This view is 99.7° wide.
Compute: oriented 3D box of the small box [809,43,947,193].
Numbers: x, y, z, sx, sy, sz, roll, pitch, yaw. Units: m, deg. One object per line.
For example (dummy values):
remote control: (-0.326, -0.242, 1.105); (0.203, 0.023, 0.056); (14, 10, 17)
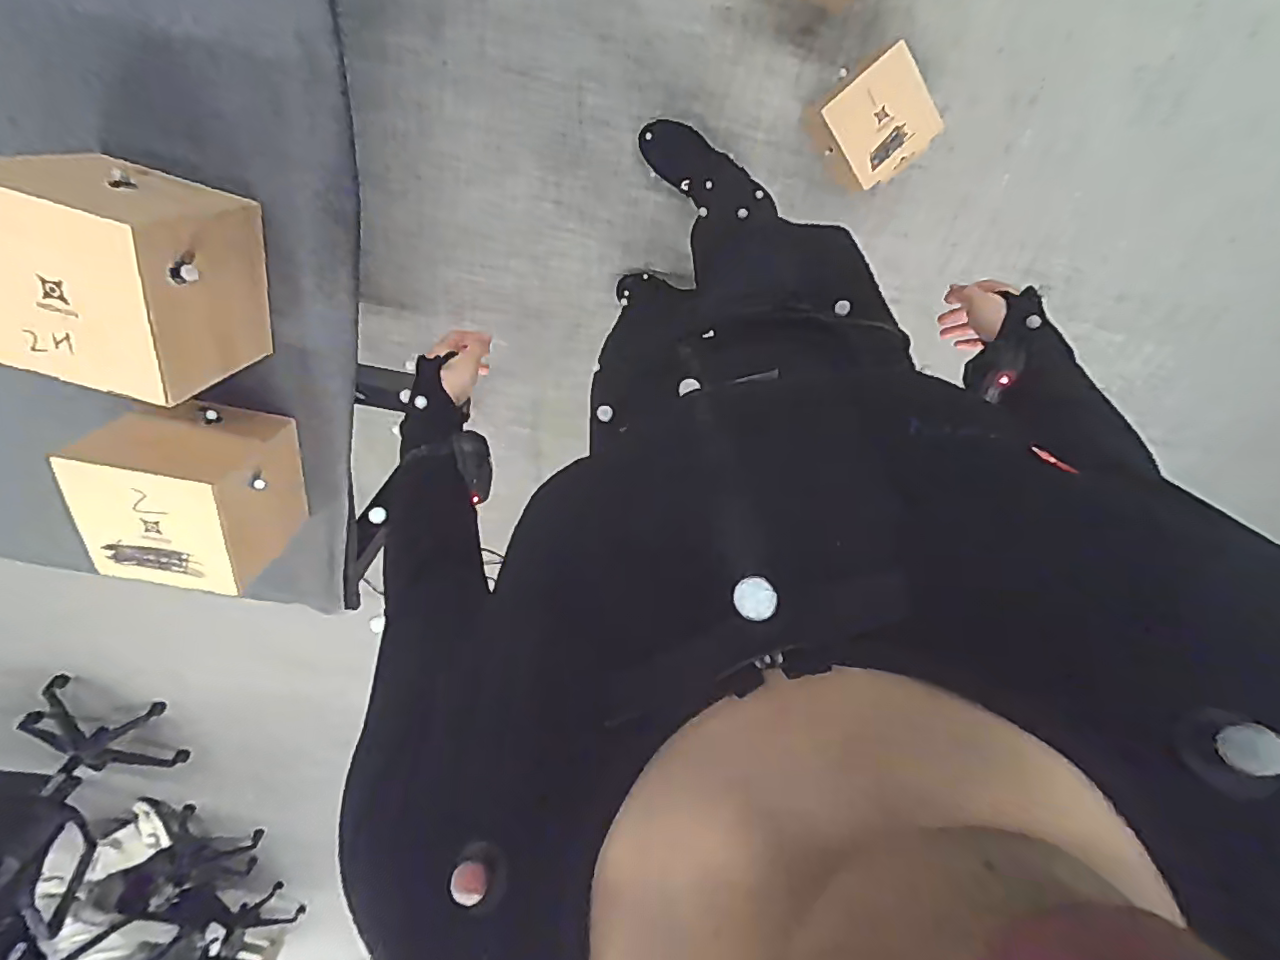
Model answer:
small box: (0.460, -0.706, 1.065); (0.168, 0.176, 0.179); (-35, 115, 22)

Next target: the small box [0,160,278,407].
small box: (-0.505, -0.206, 0.550); (0.168, 0.176, 0.179); (16, 123, -6)

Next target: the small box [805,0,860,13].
small box: (0.331, -0.943, 0.915); (0.168, 0.176, 0.179); (18, 122, -10)
